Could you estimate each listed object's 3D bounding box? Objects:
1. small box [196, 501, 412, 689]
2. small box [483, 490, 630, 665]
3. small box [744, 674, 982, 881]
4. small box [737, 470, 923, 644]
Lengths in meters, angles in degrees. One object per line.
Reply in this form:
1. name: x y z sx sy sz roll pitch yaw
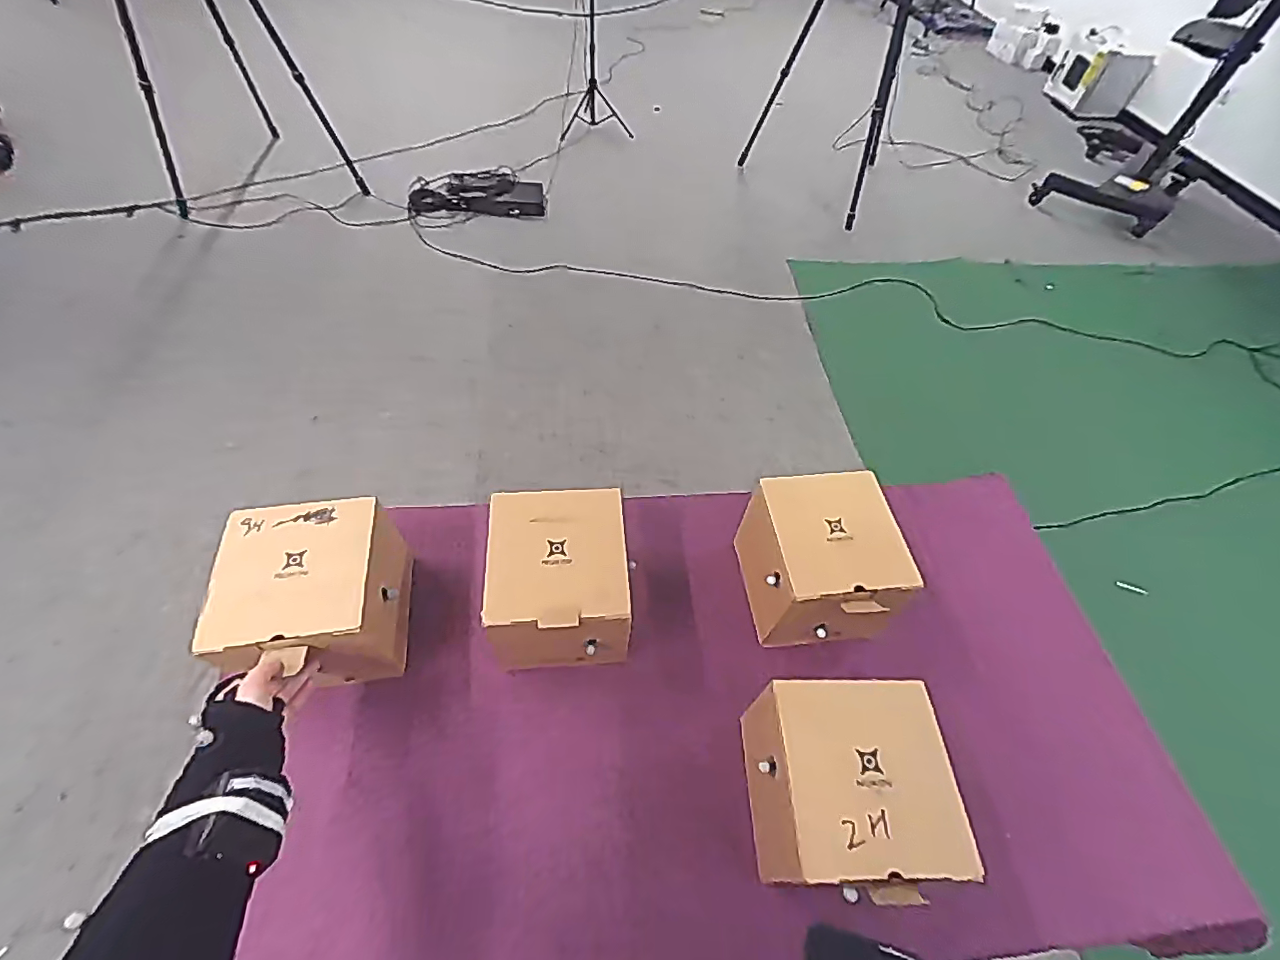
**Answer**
1. small box: -0.393 0.149 0.673 0.168 0.176 0.179 -6 56 -9
2. small box: -0.103 0.133 0.707 0.168 0.176 0.179 -2 54 -7
3. small box: 0.217 0.325 0.587 0.168 0.176 0.179 1 54 -2
4. small box: 0.244 0.108 0.749 0.168 0.176 0.179 -5 55 -7
